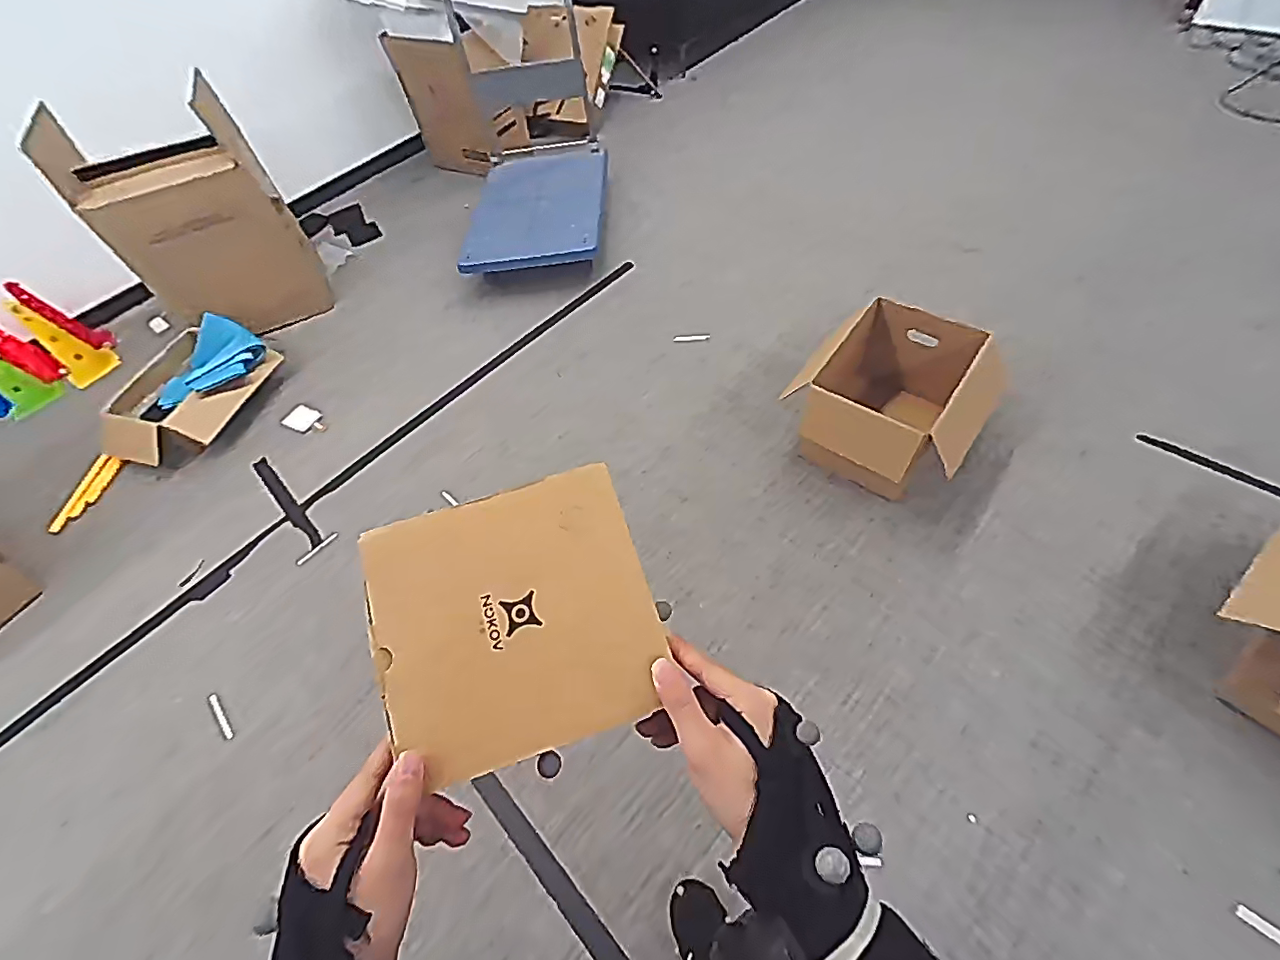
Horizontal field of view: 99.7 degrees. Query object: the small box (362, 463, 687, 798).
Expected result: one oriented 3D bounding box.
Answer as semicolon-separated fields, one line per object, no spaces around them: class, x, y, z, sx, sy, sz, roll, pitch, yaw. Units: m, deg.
small box;-0.078;0.110;0.417;0.179;0.176;0.168;-18;71;-6
